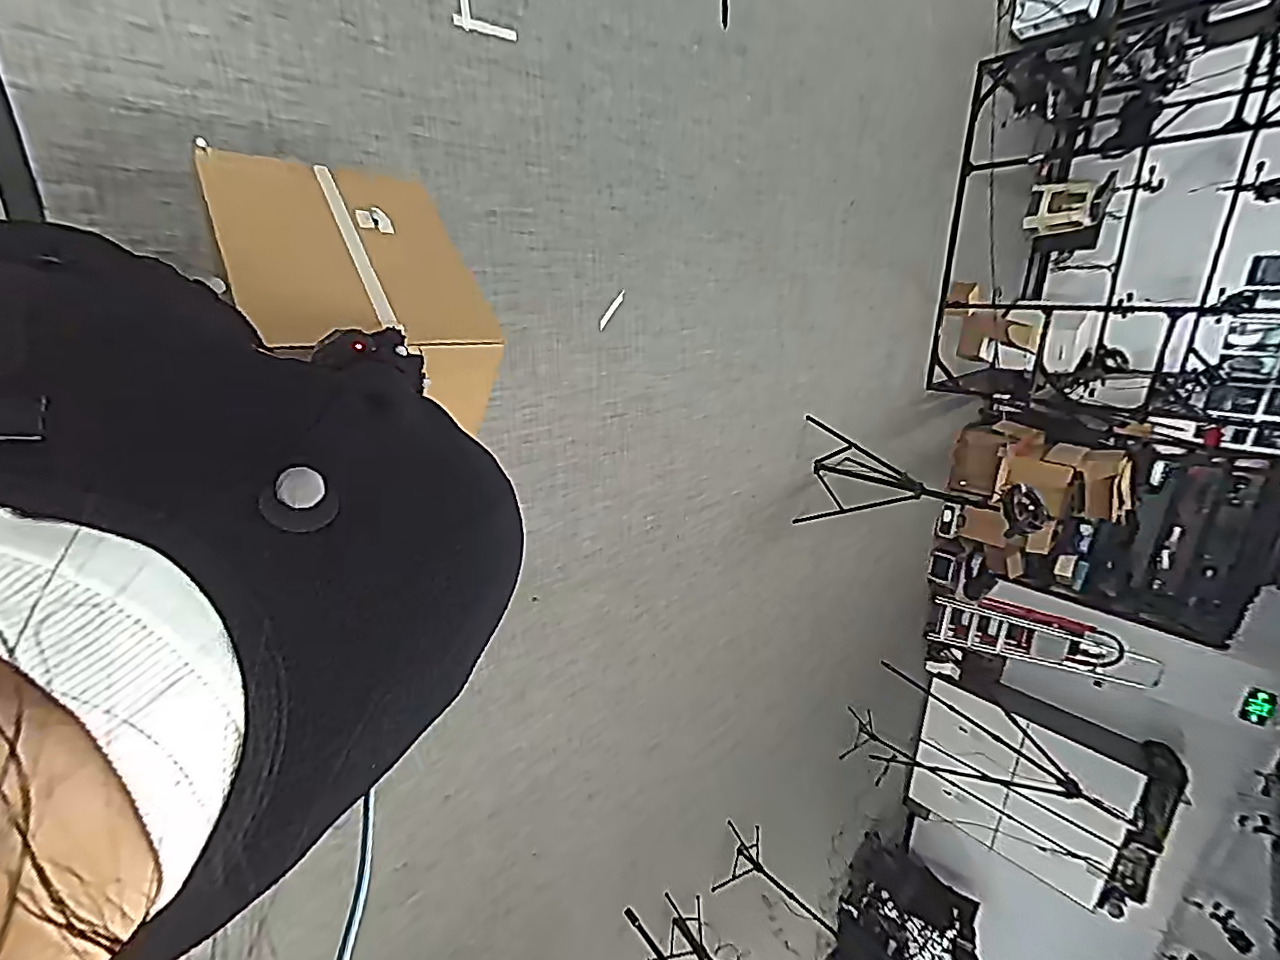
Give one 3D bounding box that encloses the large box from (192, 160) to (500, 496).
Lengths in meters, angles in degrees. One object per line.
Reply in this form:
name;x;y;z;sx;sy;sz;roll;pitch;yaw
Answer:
large box;-0.483;-0.240;0.890;0.320;0.408;0.320;-13;151;-40
